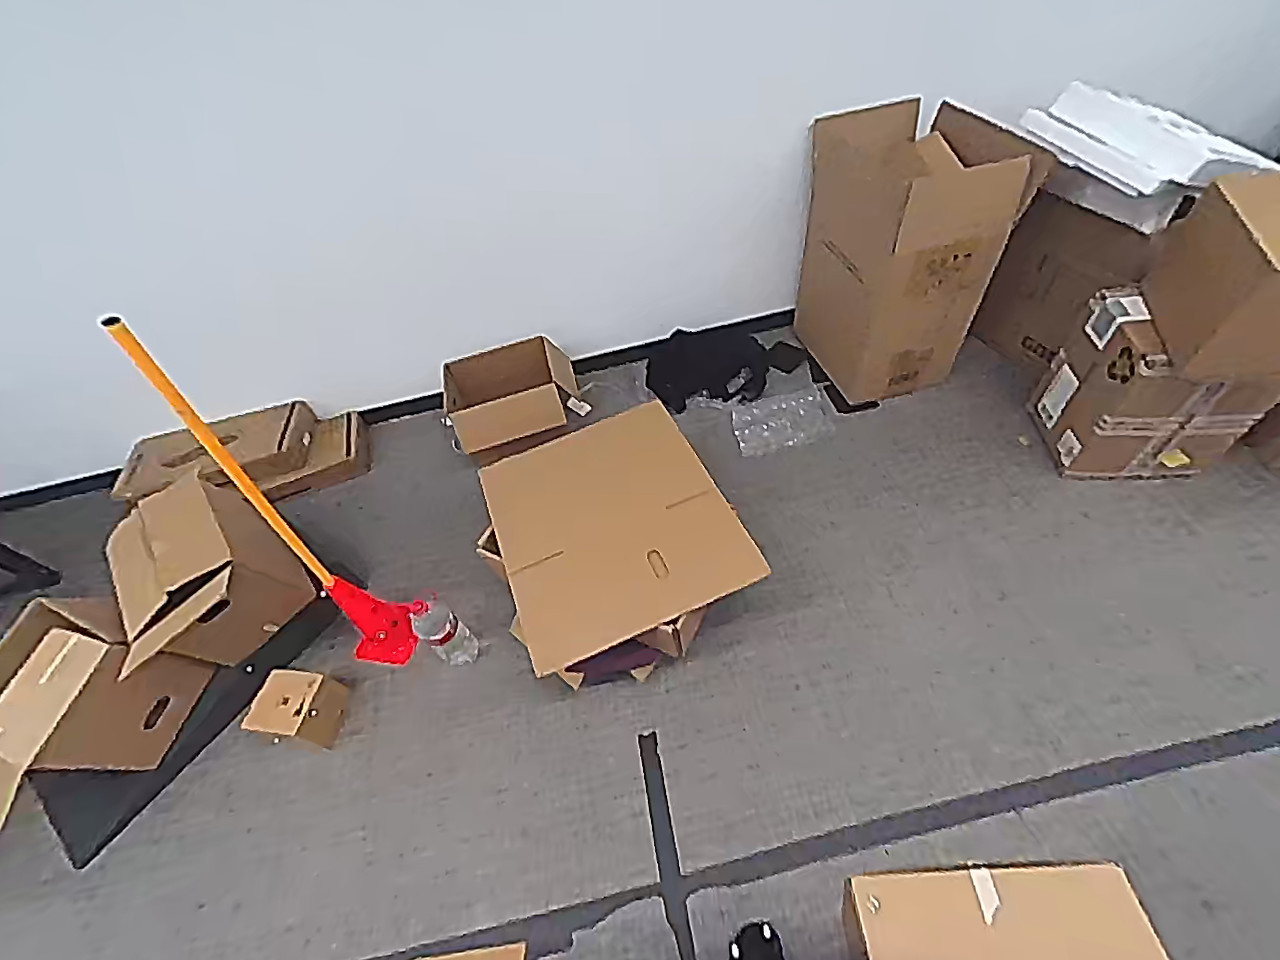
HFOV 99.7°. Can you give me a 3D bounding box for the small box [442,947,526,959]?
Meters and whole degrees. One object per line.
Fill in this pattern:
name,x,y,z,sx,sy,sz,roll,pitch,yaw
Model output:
small box,-0.225,0.749,0.674,0.168,0.179,0.176,-6,95,-2
